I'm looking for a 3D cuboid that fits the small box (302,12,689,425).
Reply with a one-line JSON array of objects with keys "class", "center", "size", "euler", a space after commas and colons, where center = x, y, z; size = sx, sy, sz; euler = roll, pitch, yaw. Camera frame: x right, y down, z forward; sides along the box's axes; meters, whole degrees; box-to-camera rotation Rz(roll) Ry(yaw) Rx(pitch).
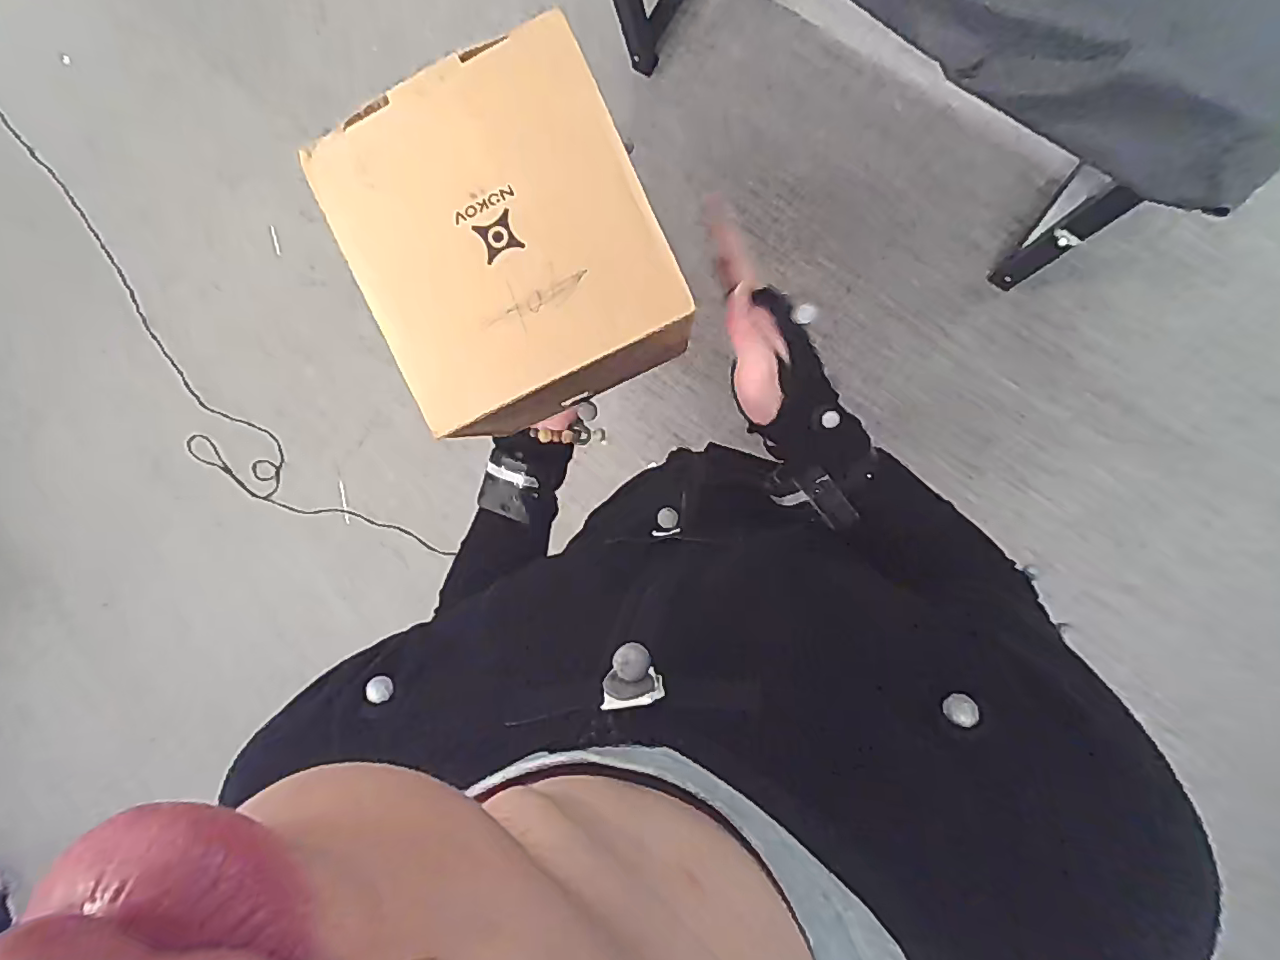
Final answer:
[{"class": "small box", "center": [-0.077, -0.147, 0.378], "size": [0.168, 0.176, 0.179], "euler": [-24, 94, 5]}]
